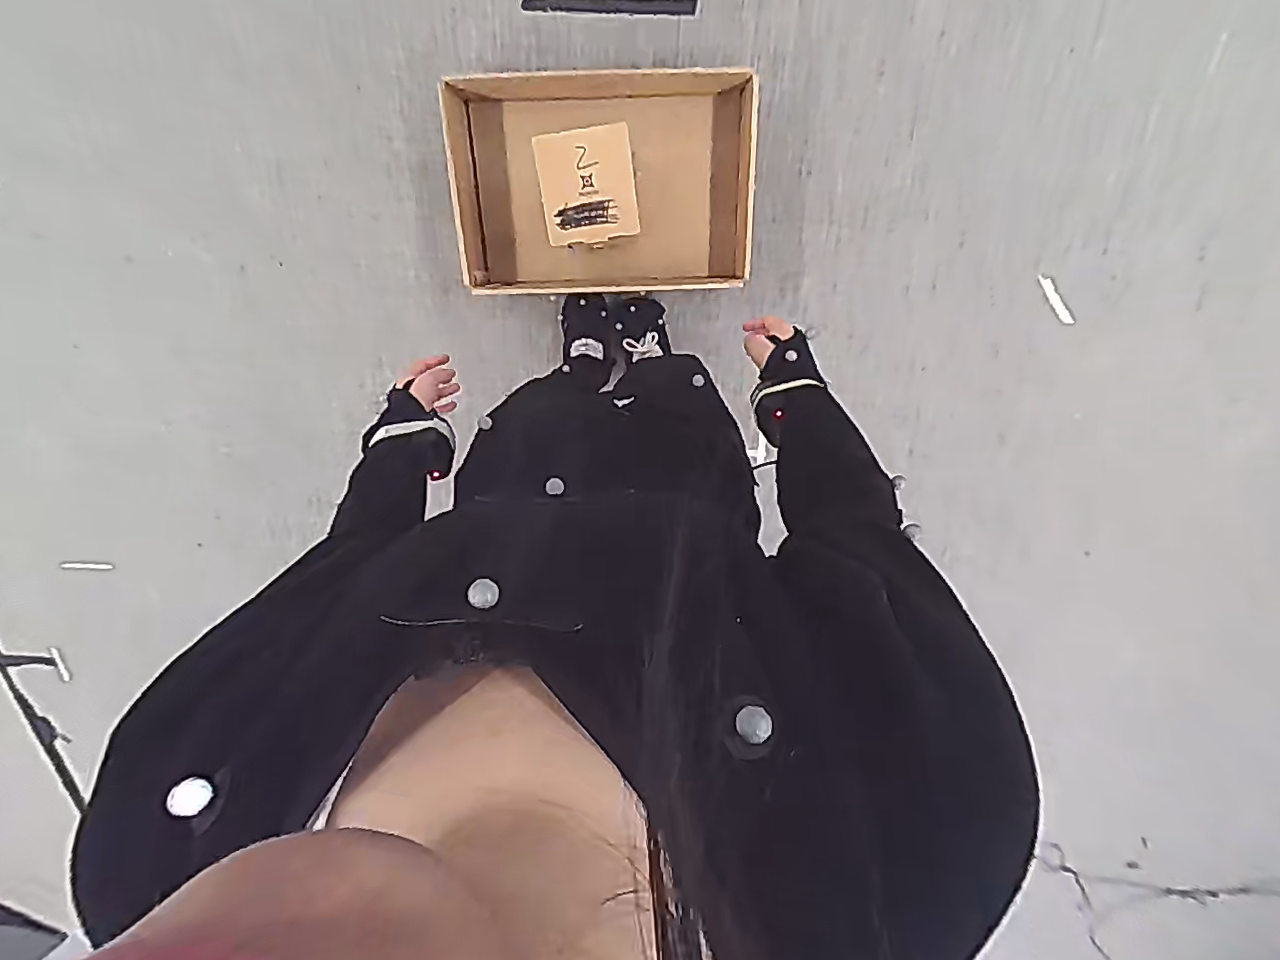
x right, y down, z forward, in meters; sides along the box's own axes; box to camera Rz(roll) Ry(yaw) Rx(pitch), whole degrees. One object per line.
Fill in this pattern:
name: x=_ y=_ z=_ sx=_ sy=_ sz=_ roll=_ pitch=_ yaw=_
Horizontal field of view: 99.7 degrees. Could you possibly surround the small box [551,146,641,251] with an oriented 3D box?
small box: x=-0.089 y=-0.597 z=1.166 sx=0.168 sy=0.176 sz=0.179 roll=-6 pitch=113 yaw=3
